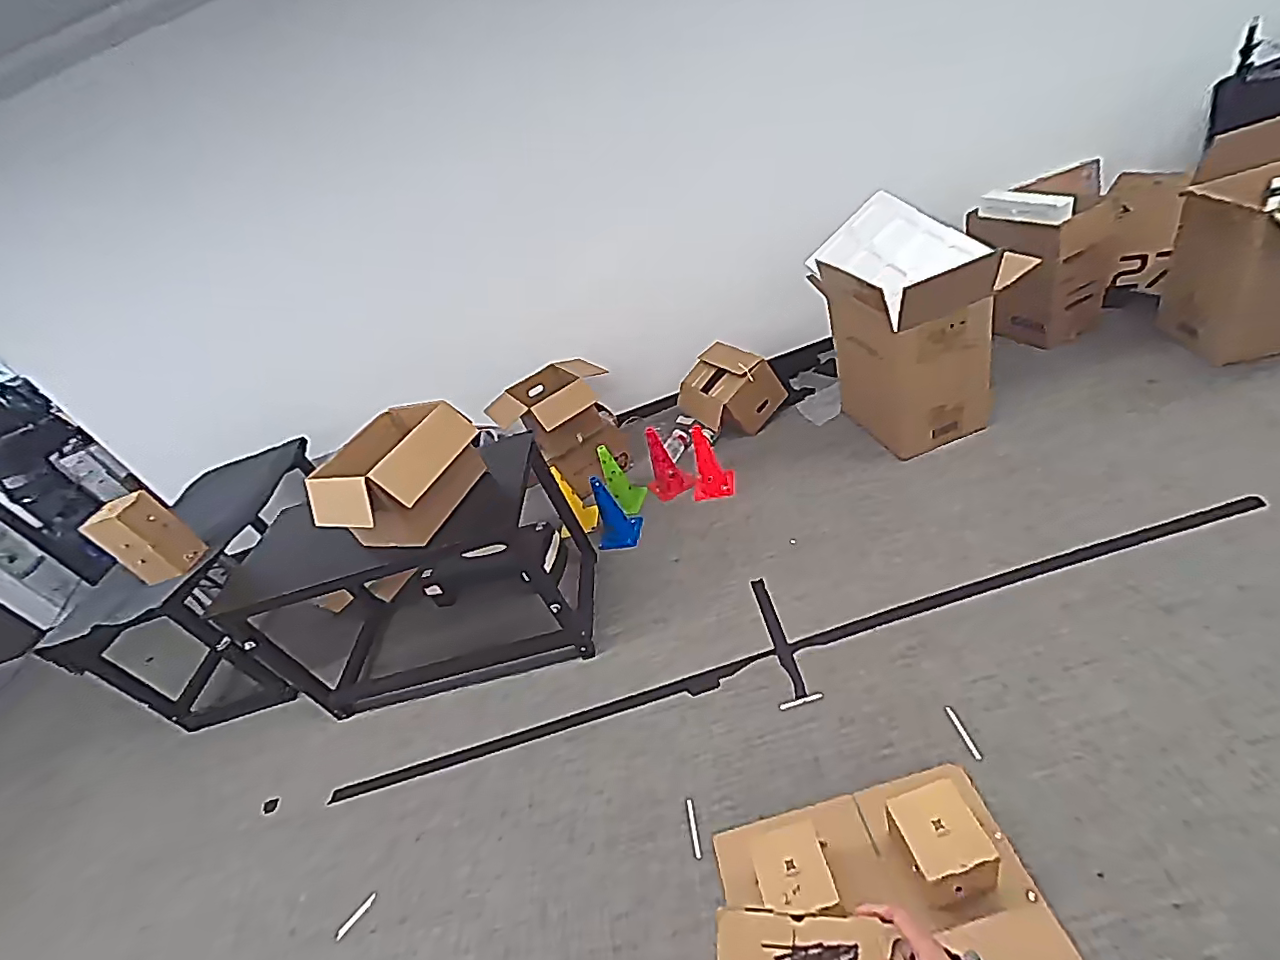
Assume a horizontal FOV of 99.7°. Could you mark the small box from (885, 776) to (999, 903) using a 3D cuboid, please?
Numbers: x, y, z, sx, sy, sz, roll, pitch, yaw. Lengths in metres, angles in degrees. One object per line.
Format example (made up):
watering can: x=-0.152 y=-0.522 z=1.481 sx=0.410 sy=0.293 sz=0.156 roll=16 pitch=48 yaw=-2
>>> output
small box: x=0.698 y=0.840 z=1.265 sx=0.168 sy=0.176 sz=0.179 roll=-22 pitch=35 yaw=1

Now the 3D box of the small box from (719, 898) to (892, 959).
small box: x=0.170 y=0.552 z=0.541 sx=0.168 sy=0.176 sz=0.179 roll=-6 pitch=41 yaw=14

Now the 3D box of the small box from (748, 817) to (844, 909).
small box: x=0.374 y=0.951 z=1.291 sx=0.168 sy=0.176 sz=0.179 roll=-21 pitch=35 yaw=5
